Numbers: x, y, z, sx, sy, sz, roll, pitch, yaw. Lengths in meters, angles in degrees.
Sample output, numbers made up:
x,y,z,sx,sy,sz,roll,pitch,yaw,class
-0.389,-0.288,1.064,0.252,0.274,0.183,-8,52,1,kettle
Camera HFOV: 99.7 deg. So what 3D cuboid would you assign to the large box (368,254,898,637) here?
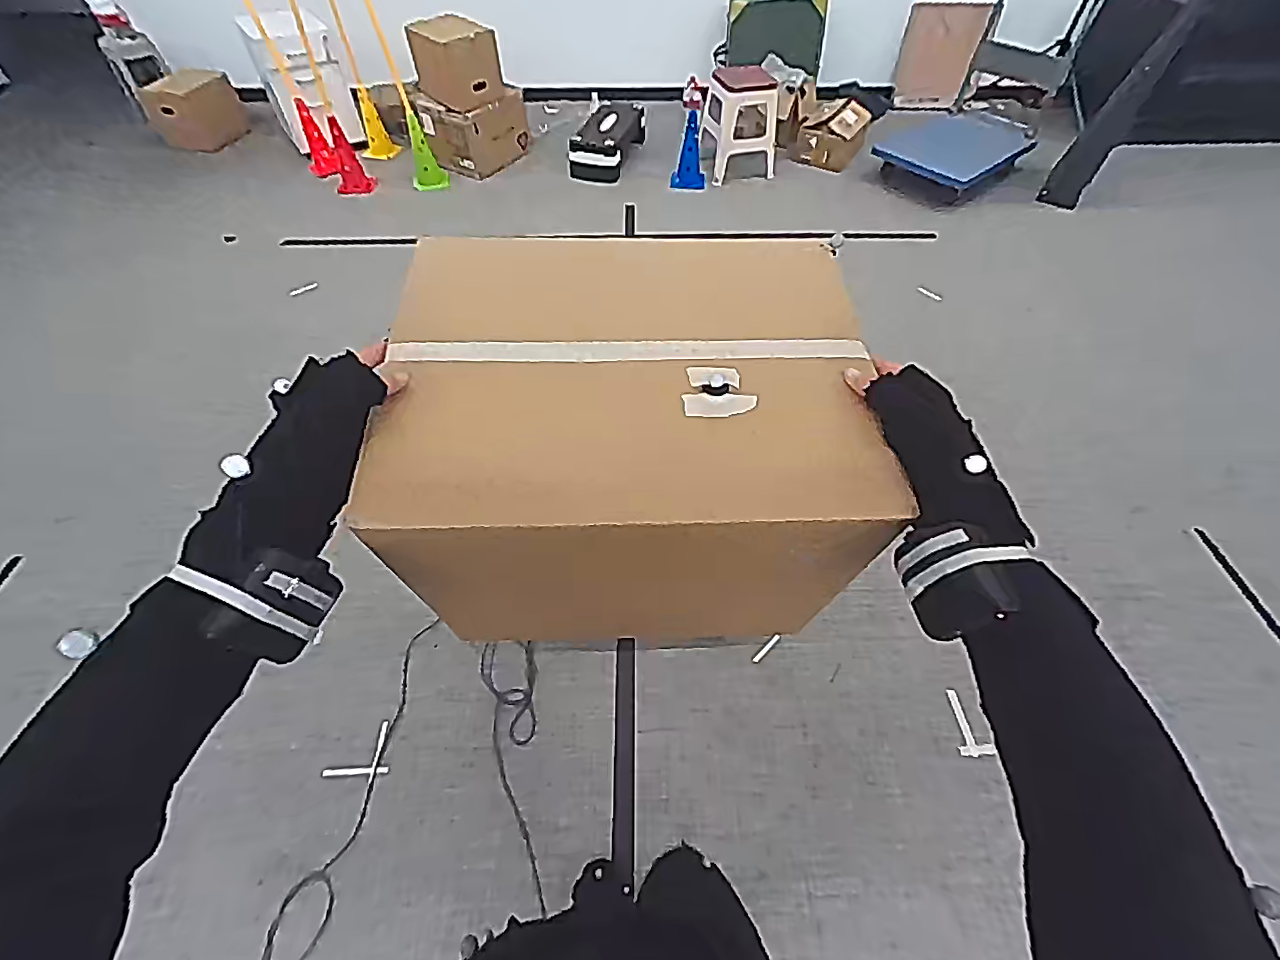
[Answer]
x,y,z,sx,sy,sz,roll,pitch,yaw,class
-0.013,-0.024,0.601,0.408,0.320,0.320,0,60,-2,large box
